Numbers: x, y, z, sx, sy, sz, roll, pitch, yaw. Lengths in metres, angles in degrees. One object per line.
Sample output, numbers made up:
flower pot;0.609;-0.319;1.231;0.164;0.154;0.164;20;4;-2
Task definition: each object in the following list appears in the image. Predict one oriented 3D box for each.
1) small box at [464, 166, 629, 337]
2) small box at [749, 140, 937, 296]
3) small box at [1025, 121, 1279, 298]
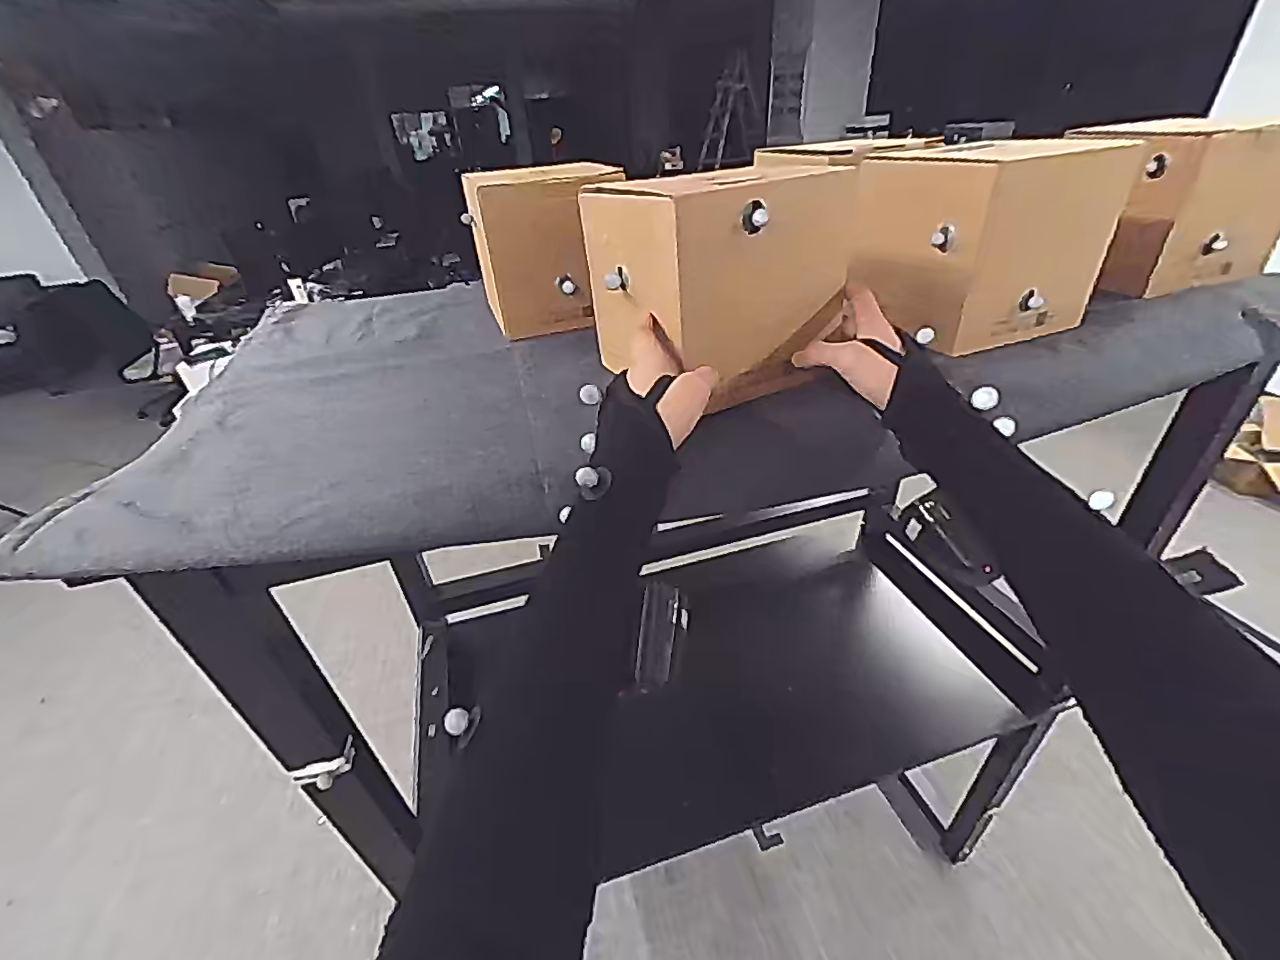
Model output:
small box;-0.120;-0.297;0.694;0.168;0.176;0.179;-15;36;-15
small box;0.264;-0.360;0.746;0.168;0.176;0.179;-14;34;-14
small box;0.627;-0.333;0.664;0.168;0.176;0.179;-11;35;-8
